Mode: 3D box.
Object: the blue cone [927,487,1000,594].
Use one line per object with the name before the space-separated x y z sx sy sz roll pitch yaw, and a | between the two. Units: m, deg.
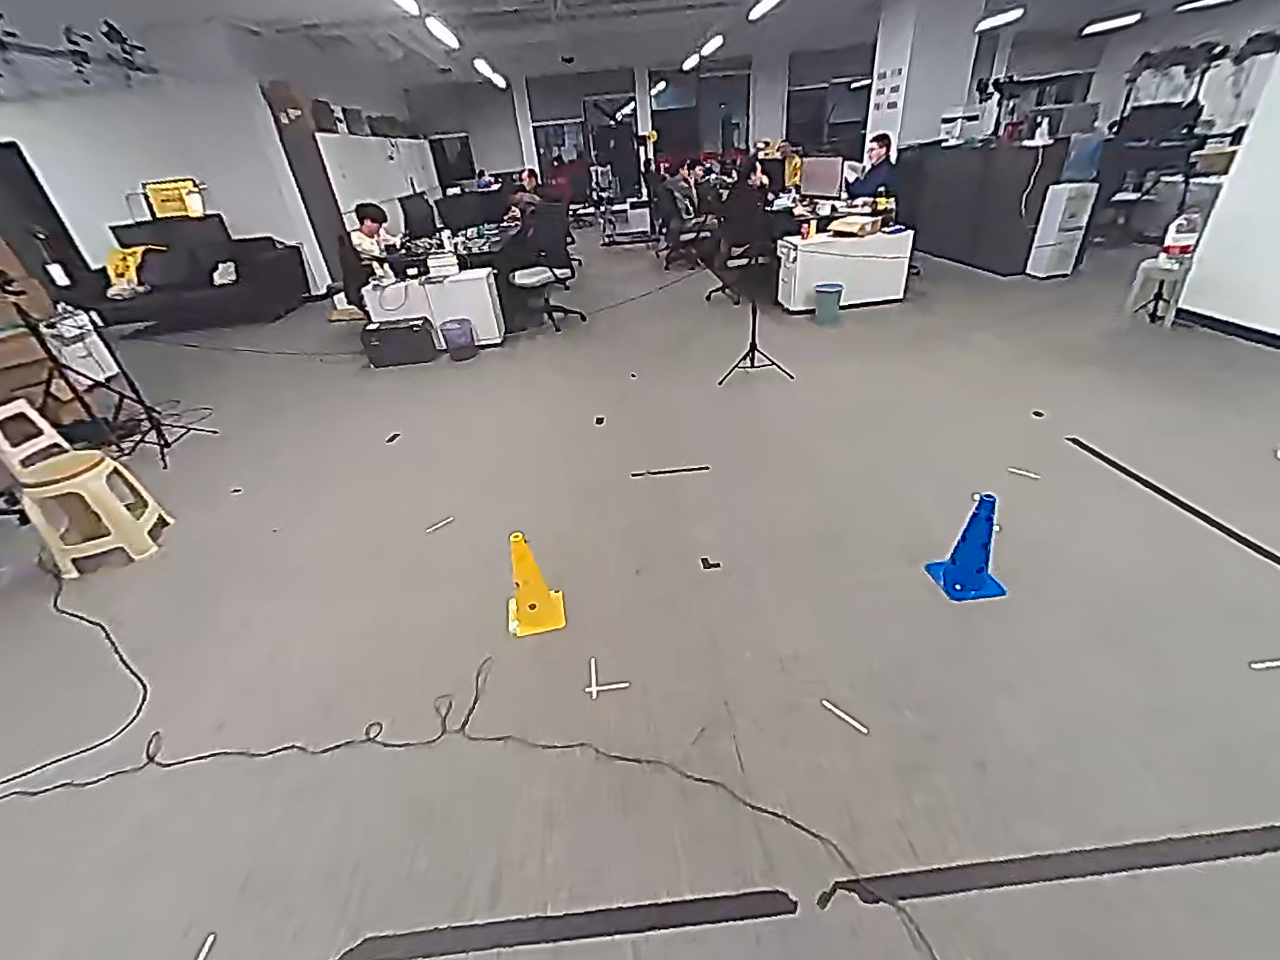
blue cone | 1.142 0.196 1.848 0.193 0.380 0.192 -6 31 -1
